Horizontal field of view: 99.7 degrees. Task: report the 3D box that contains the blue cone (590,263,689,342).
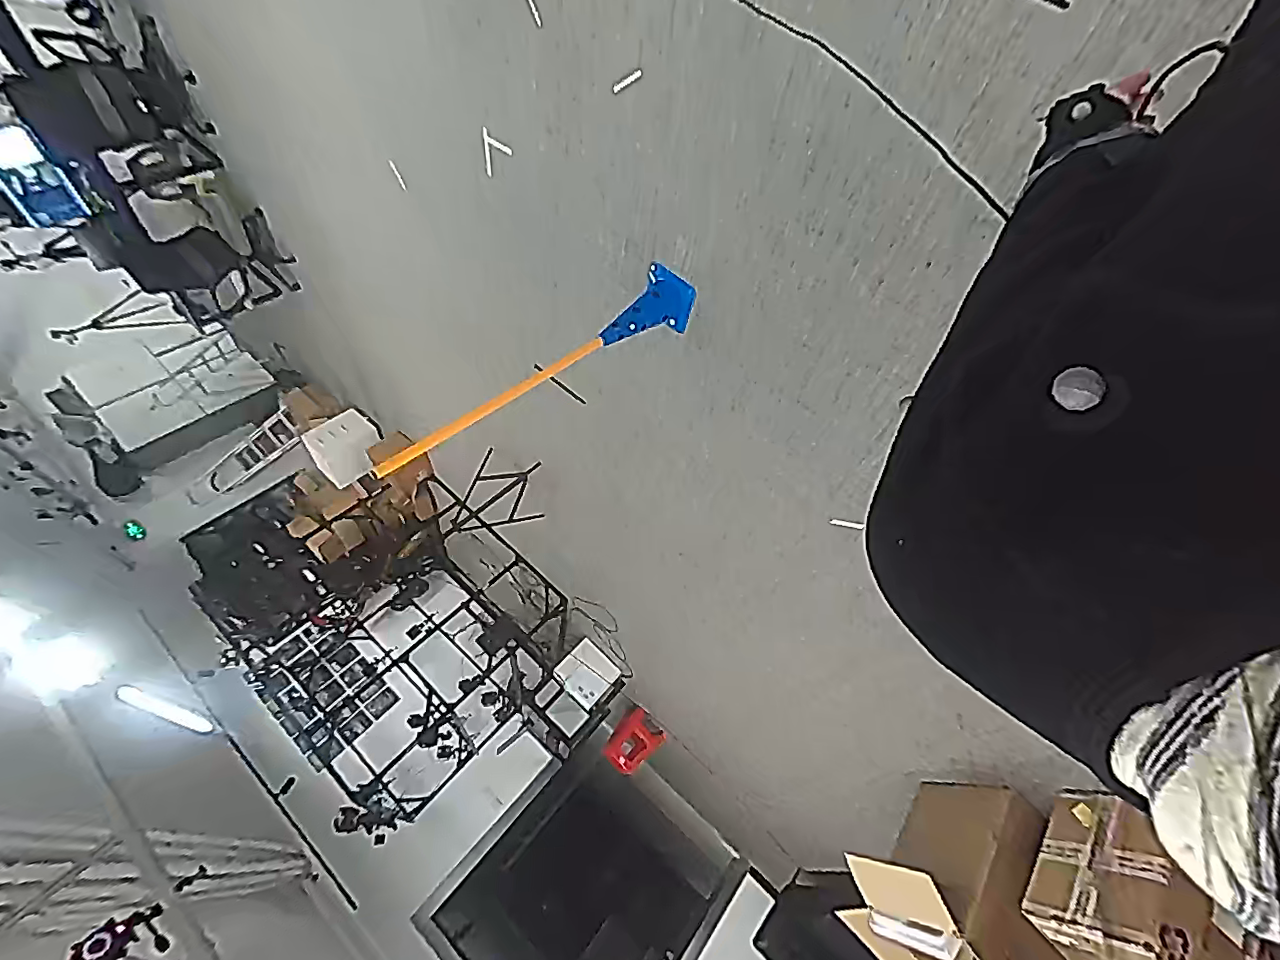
[{"bbox_3d":[-0.019,-0.558,1.831,0.192,0.380,0.193,41,148,13],"label":"blue cone"}]
